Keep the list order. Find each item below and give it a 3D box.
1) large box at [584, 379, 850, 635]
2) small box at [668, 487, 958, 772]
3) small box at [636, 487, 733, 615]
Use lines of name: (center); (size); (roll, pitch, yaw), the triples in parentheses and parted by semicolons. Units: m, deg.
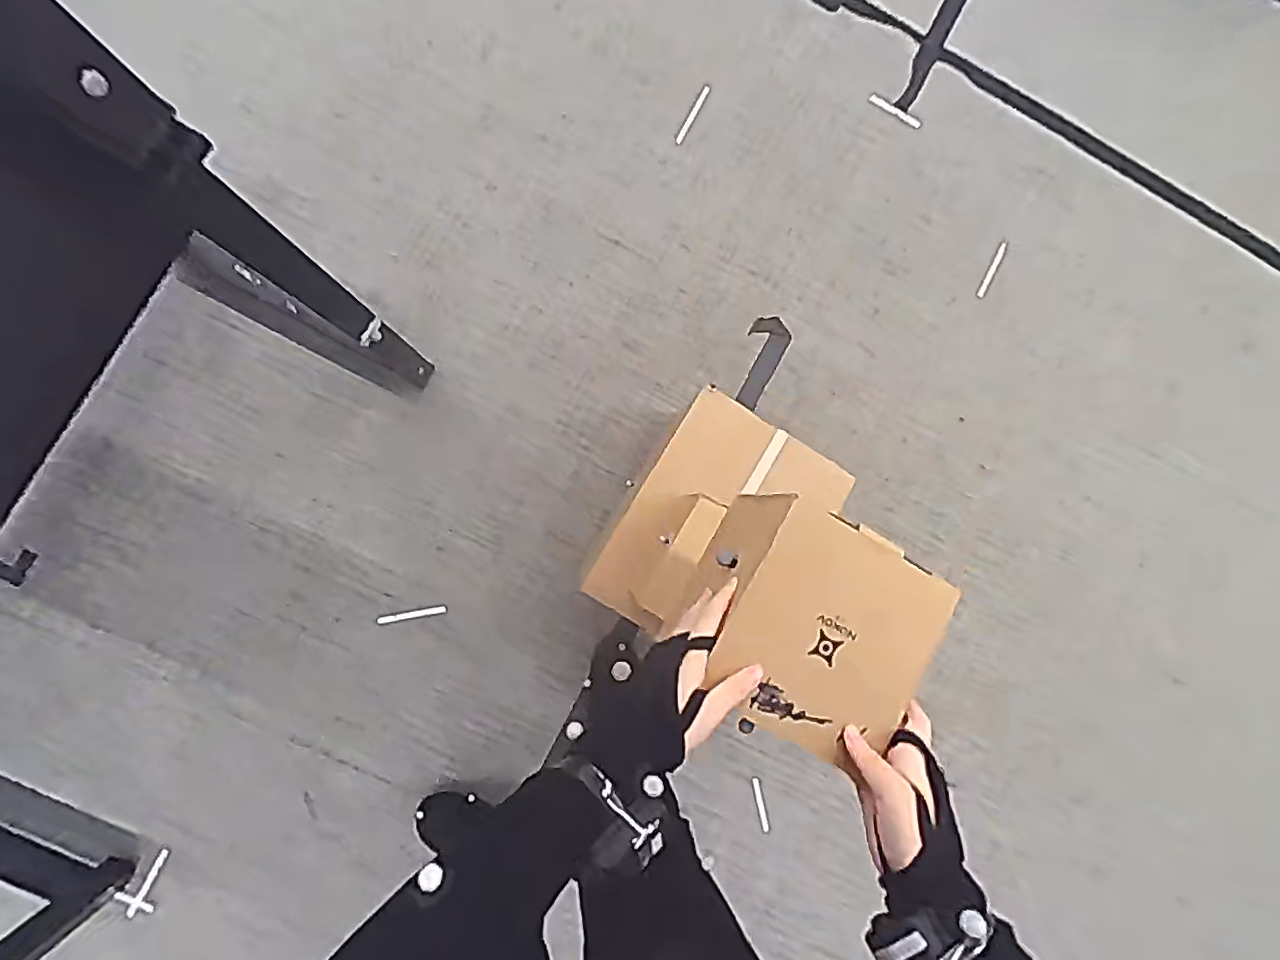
large box: (0.118, 0.083, 1.046); (0.320, 0.320, 0.408); (32, 84, -5)
small box: (0.142, 0.122, 0.510); (0.168, 0.176, 0.179); (31, 85, -5)
small box: (0.104, 0.126, 0.795); (0.168, 0.176, 0.179); (32, 85, -2)
